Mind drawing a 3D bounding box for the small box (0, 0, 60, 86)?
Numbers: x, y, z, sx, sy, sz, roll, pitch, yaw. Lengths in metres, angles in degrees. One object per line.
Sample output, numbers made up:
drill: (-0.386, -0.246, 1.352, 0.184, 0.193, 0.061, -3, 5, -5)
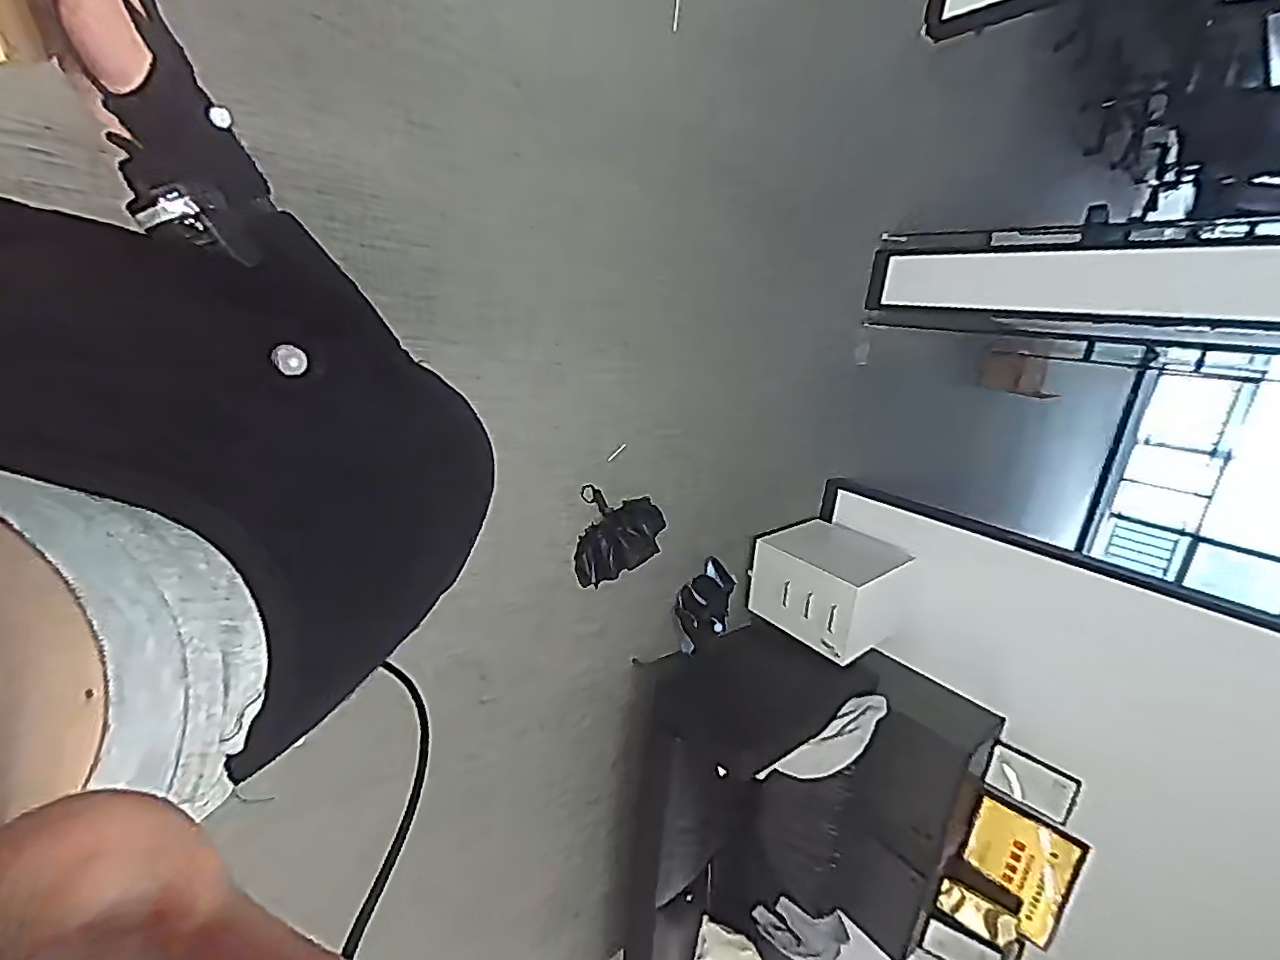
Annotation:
small box: (-0.380, -0.274, 0.210, 0.168, 0.176, 0.179, -17, 132, -32)
